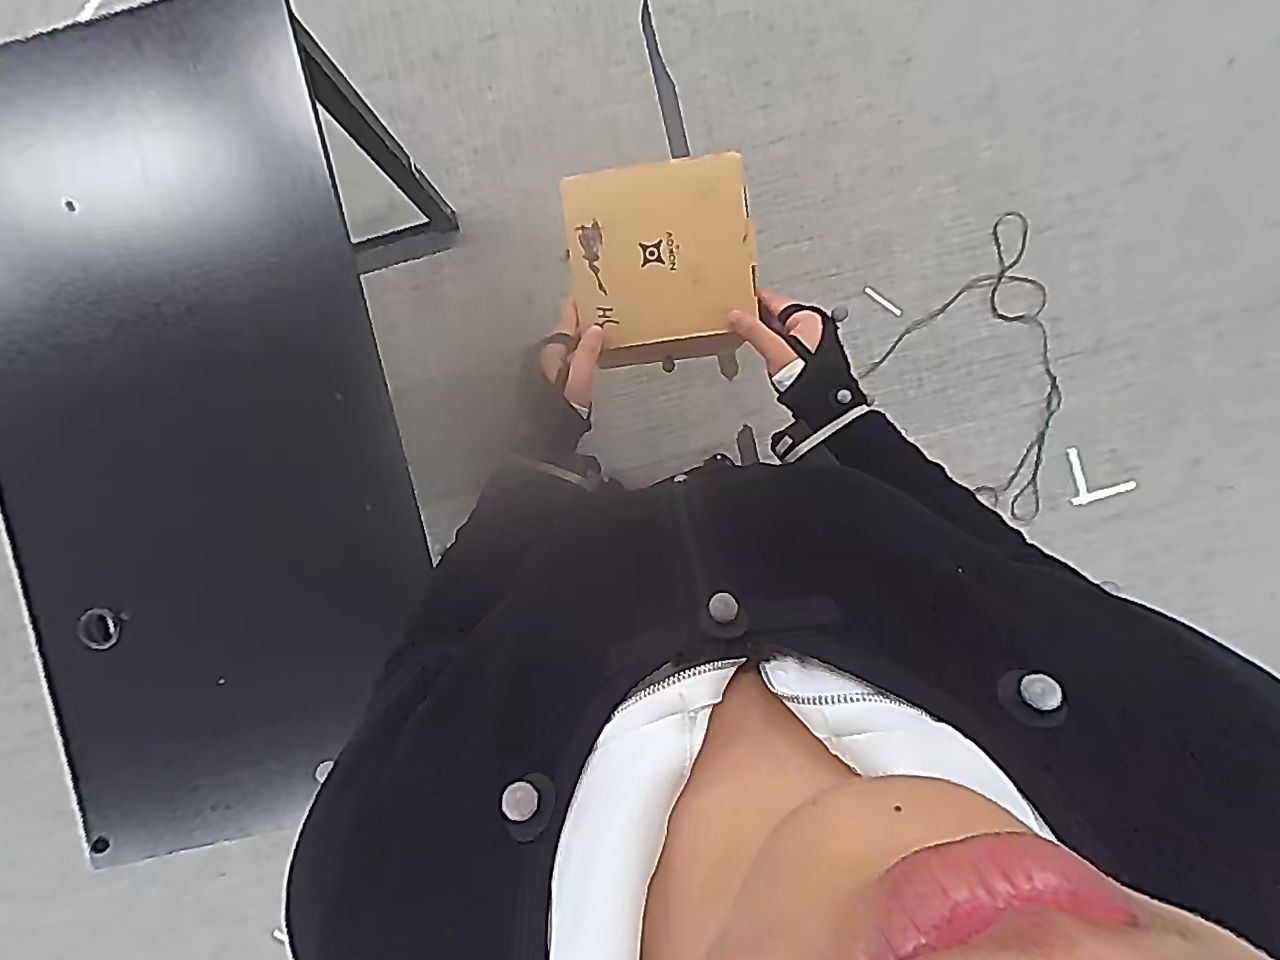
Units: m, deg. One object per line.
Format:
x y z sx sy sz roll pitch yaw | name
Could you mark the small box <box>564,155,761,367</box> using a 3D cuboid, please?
0.021 -0.223 0.594 0.179 0.176 0.168 -7 94 0 | small box
